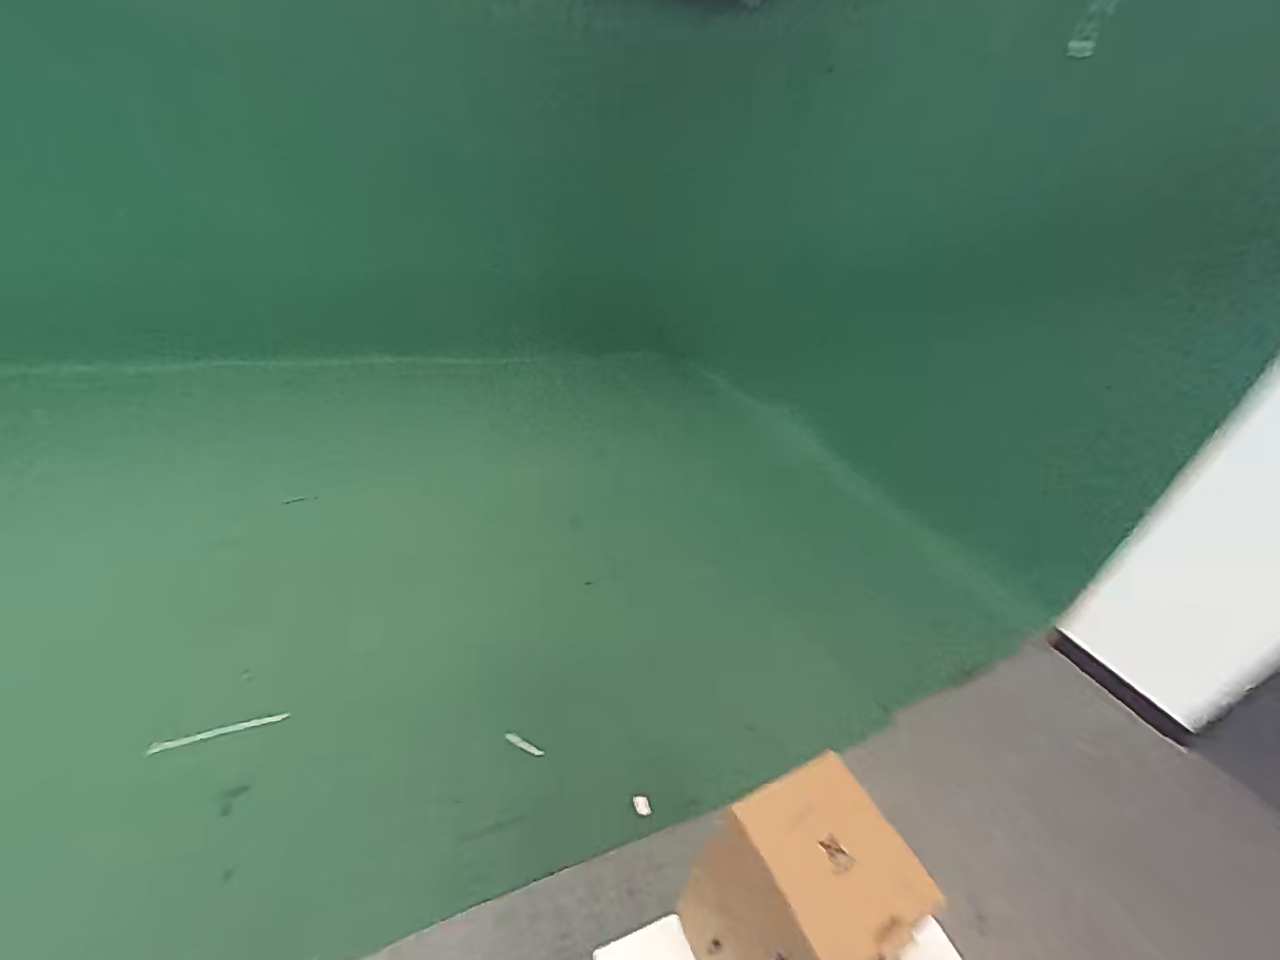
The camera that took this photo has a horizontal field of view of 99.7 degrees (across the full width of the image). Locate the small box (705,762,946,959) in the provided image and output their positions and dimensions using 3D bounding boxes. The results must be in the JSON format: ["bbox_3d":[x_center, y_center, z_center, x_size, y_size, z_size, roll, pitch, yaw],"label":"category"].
[{"bbox_3d":[0.200,0.479,0.630,0.168,0.176,0.179,-9,39,-28],"label":"small box"}]

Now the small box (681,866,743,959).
[{"bbox_3d":[0.173,0.612,0.722,0.168,0.176,0.179,-9,40,-26],"label":"small box"}]
